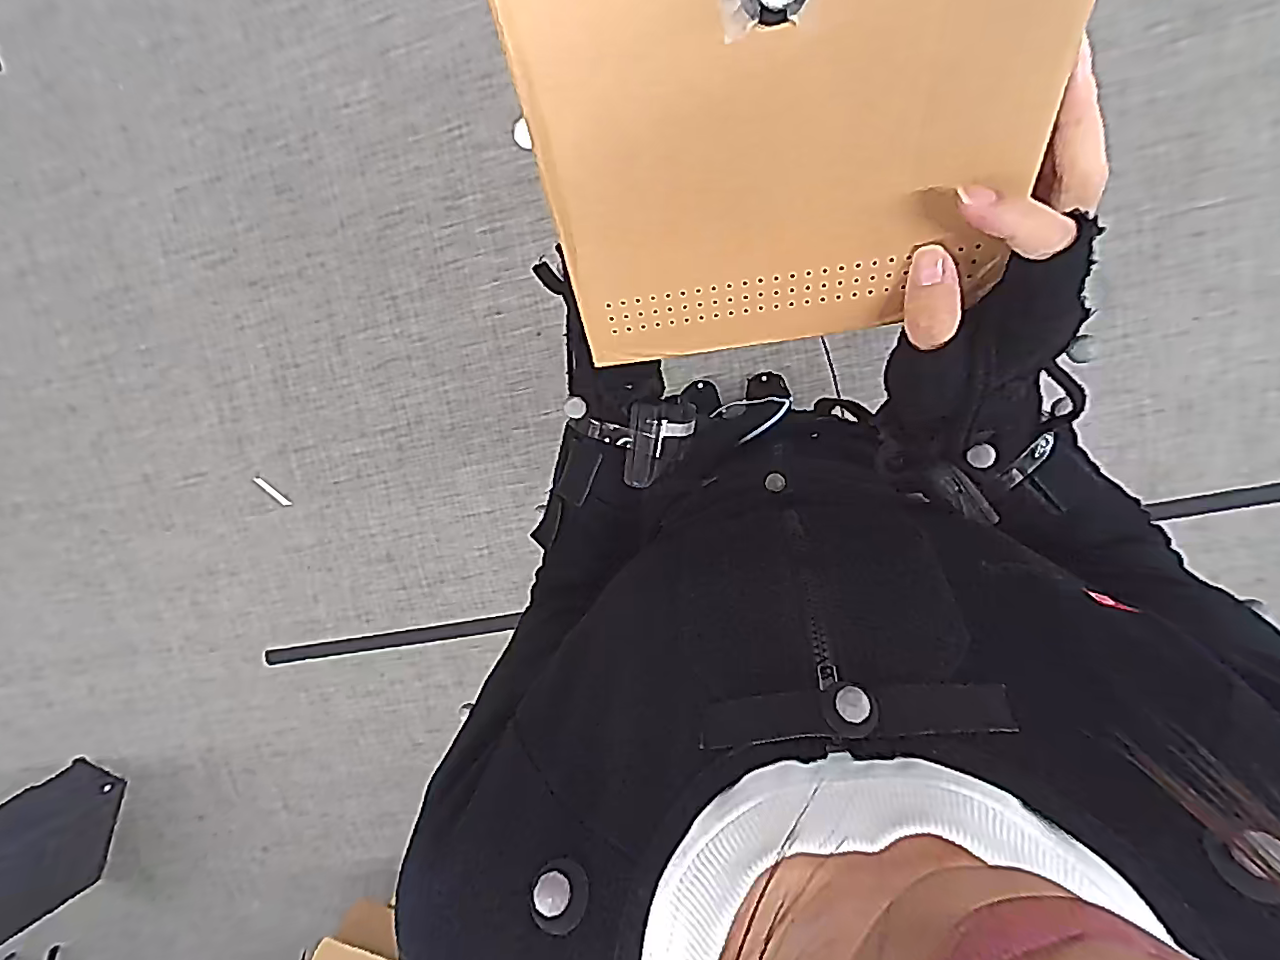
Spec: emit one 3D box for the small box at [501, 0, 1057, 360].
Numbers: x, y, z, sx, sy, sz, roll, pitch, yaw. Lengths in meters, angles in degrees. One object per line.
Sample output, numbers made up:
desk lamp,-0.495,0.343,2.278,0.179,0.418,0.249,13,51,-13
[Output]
small box,0.053,-0.171,0.242,0.179,0.168,0.176,-6,138,8
